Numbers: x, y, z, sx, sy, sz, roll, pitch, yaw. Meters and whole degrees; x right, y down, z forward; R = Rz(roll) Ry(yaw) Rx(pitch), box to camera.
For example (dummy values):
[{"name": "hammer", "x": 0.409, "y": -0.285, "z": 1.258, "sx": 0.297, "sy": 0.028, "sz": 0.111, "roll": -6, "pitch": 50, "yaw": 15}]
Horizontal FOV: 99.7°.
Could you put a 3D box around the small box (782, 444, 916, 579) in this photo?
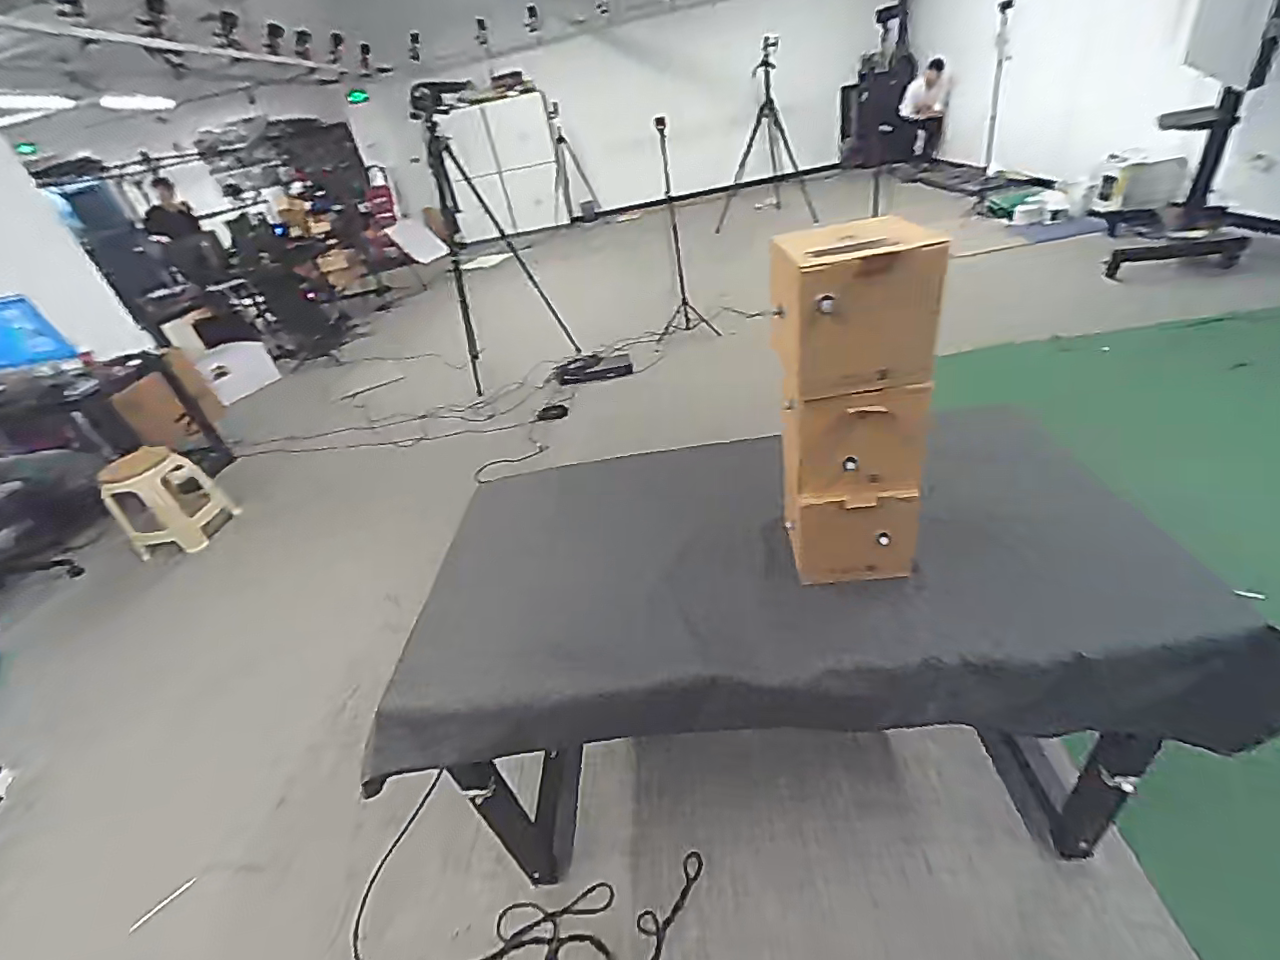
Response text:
[{"name": "small box", "x": 0.328, "y": 0.047, "z": 0.876, "sx": 0.168, "sy": 0.176, "sz": 0.179, "roll": -6, "pitch": 33, "yaw": 8}]

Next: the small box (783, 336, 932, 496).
[{"name": "small box", "x": 0.304, "y": -0.095, "z": 0.799, "sx": 0.168, "sy": 0.176, "sz": 0.179, "roll": -5, "pitch": 35, "yaw": 9}]
